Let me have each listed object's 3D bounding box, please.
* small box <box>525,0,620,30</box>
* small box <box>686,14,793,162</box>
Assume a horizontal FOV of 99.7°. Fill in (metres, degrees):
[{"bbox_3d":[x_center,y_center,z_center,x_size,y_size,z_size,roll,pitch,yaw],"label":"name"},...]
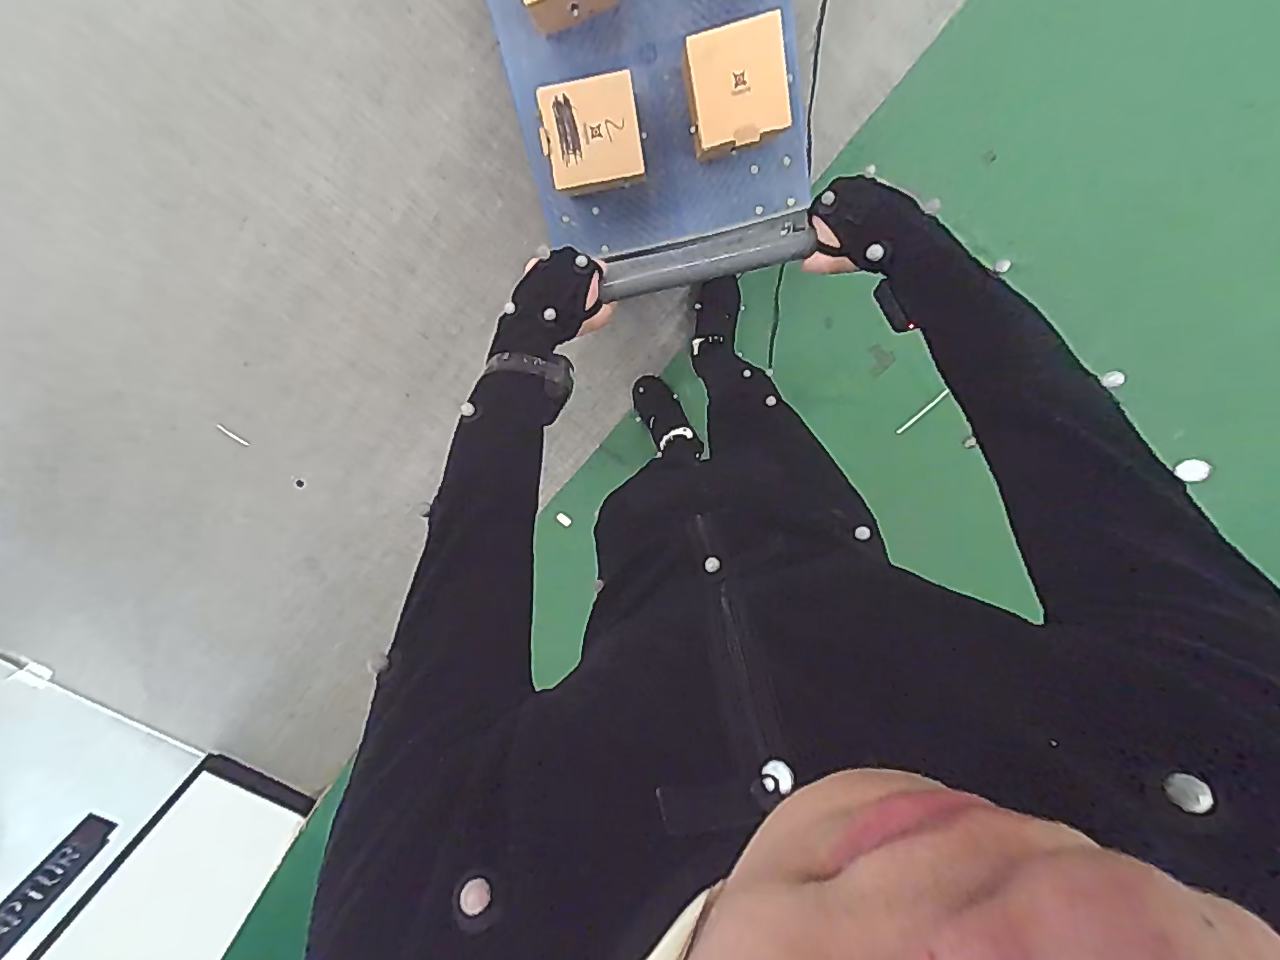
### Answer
[{"bbox_3d":[-0.137,-0.935,0.948,0.168,0.176,0.179,-16,113,8],"label":"small box"},{"bbox_3d":[0.183,-0.731,1.029,0.168,0.176,0.179,-11,113,7],"label":"small box"}]
